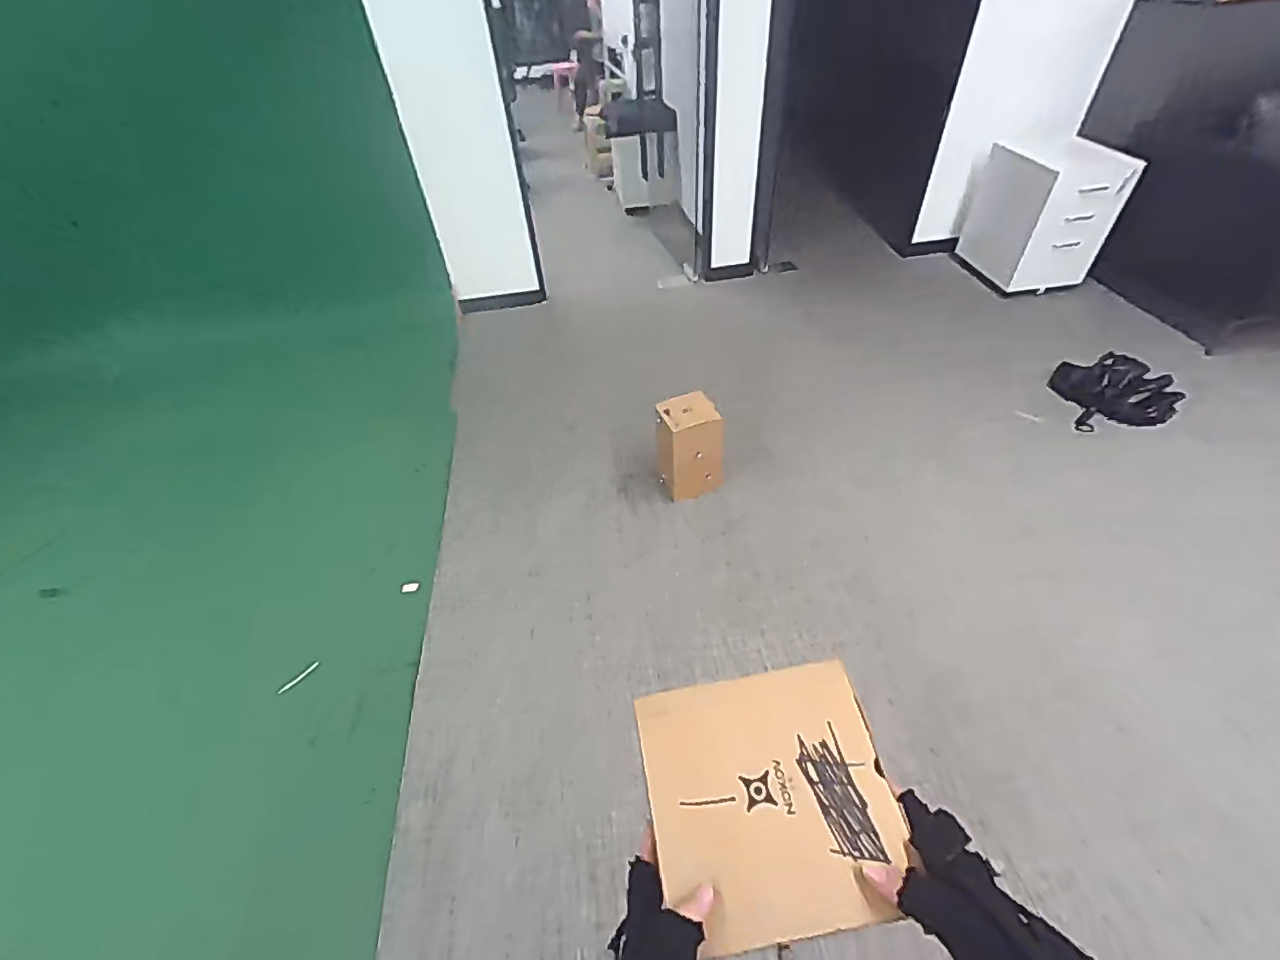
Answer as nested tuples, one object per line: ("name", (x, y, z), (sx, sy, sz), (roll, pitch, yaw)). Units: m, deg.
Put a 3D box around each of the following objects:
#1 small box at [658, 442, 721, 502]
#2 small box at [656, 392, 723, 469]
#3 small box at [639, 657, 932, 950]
("small box", (0.177, -0.051, 1.950), (0.179, 0.176, 0.168), (-19, 46, -11))
("small box", (0.166, -0.167, 1.838), (0.179, 0.176, 0.168), (-20, 48, -13))
("small box", (0.099, 0.271, 0.458), (0.179, 0.176, 0.168), (-10, 50, -2))
